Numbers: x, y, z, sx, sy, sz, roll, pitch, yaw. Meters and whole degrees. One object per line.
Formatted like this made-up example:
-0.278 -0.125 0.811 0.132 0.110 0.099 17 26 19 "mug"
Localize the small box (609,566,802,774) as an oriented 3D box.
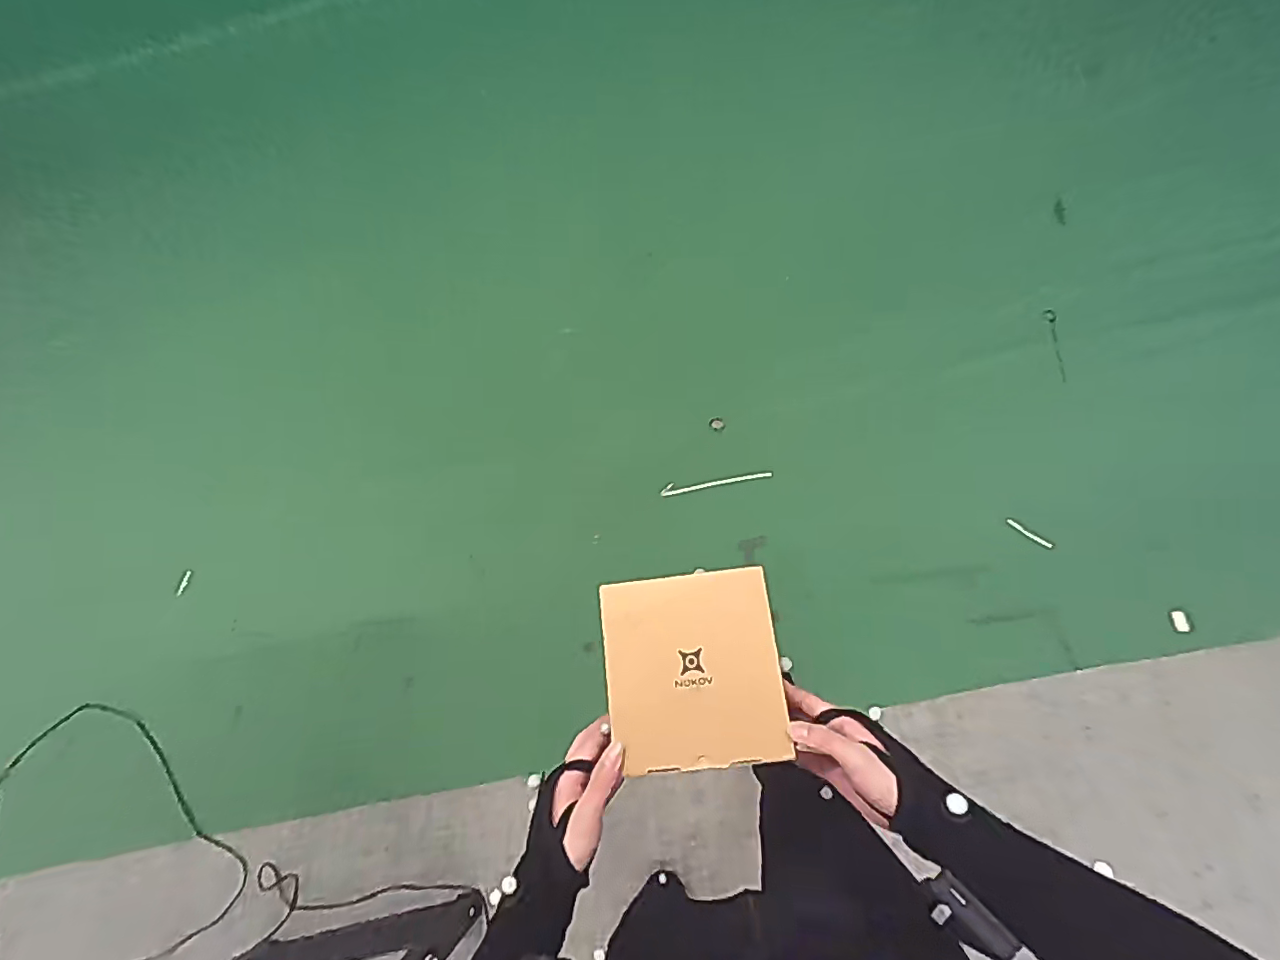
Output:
0.062 0.200 0.585 0.168 0.176 0.179 -7 72 3 "small box"
